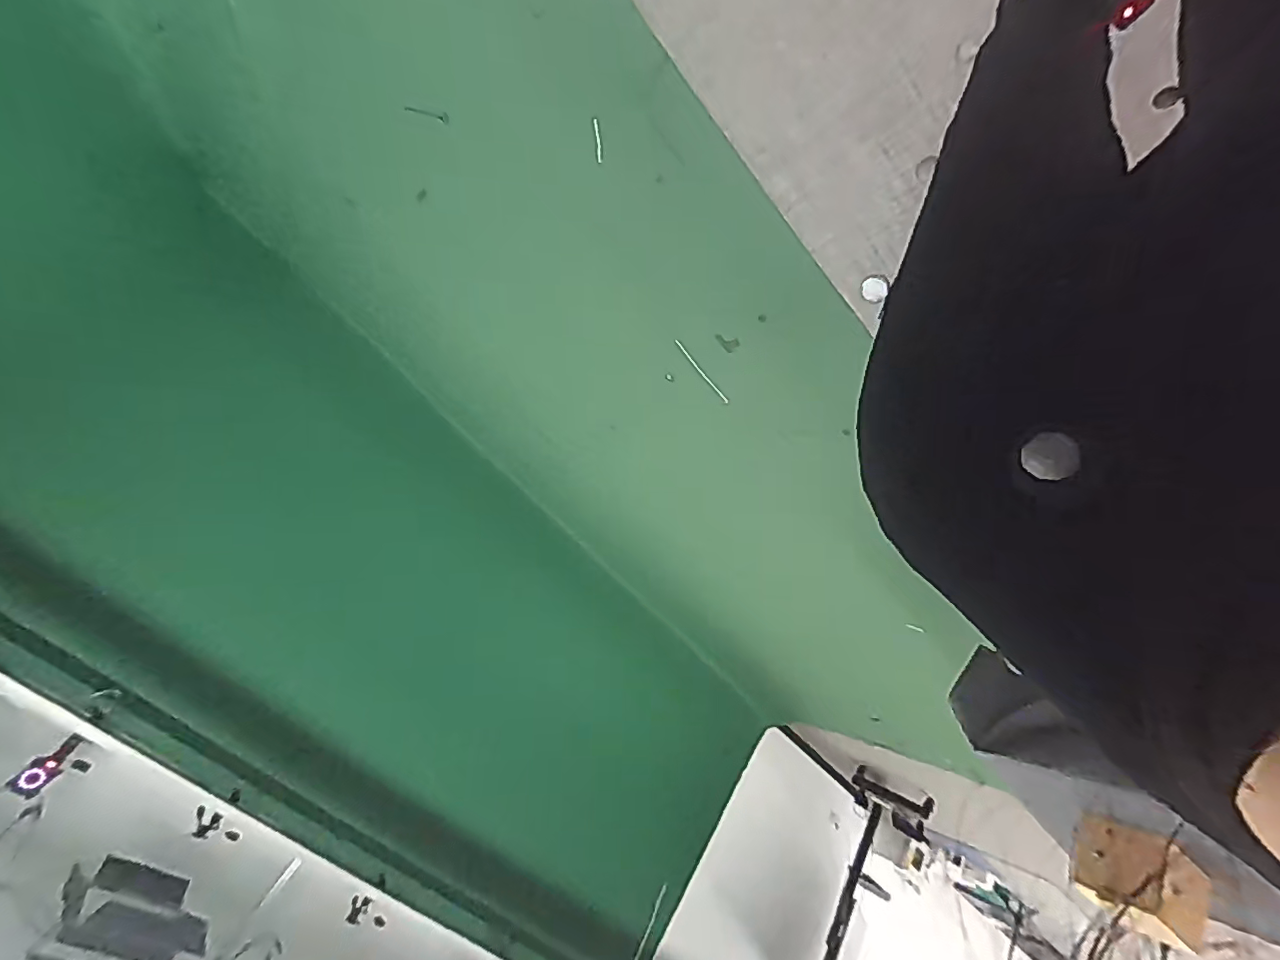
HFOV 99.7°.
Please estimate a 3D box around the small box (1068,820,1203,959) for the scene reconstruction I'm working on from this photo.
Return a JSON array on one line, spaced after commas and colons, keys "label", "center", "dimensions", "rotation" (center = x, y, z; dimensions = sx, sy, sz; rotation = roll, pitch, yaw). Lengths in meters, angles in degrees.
[{"label": "small box", "center": [1.121, 0.913, 1.224], "dimensions": [0.179, 0.176, 0.168], "rotation": [42, 155, -11]}]
